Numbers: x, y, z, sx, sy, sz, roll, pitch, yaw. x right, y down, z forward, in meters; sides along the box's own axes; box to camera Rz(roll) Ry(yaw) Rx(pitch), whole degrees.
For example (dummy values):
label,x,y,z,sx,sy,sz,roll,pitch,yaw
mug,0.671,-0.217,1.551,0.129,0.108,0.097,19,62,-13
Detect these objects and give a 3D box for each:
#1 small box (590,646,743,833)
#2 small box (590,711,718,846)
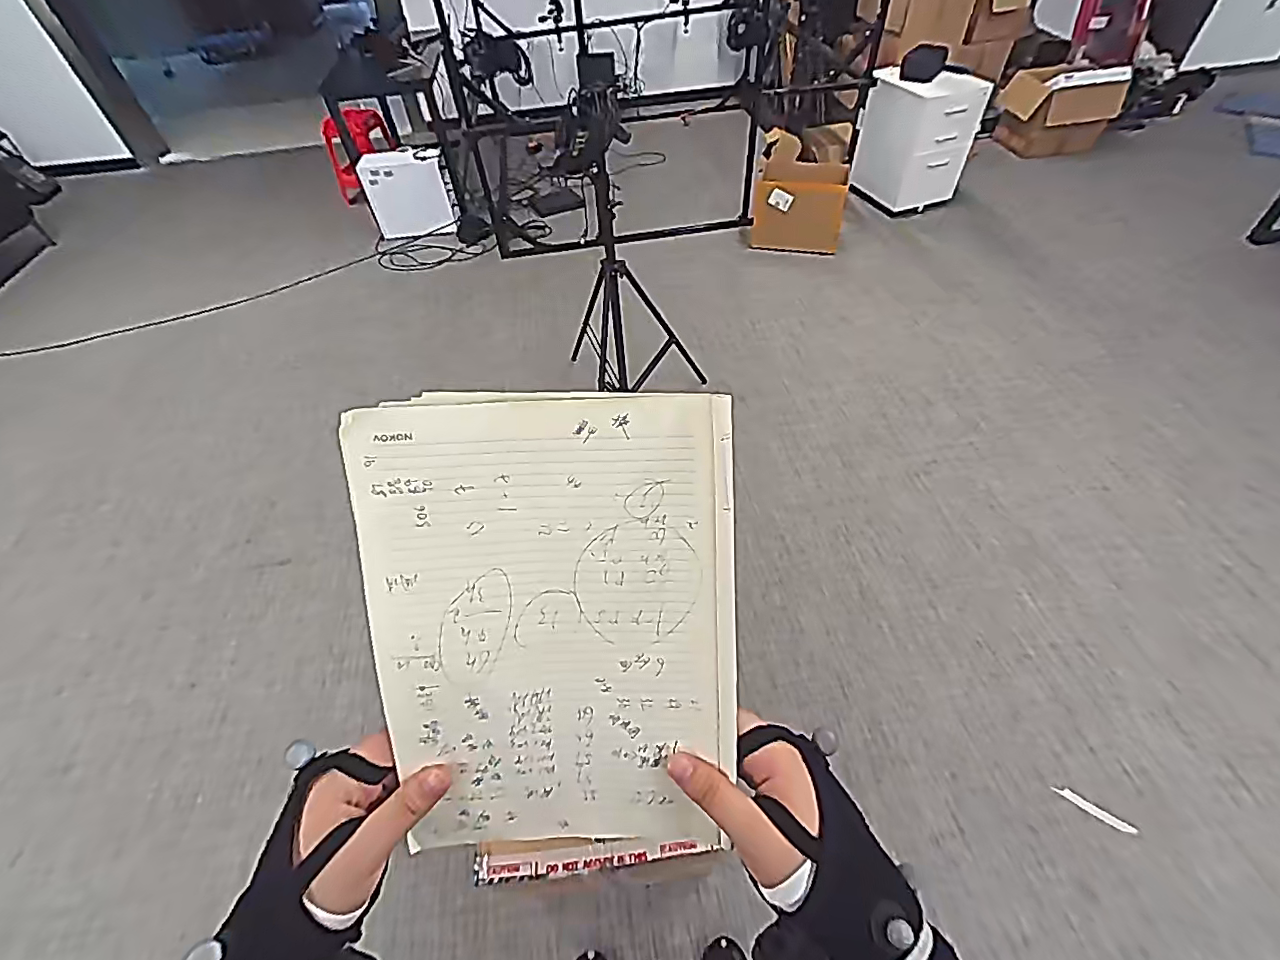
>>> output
label,x,y,z,sx,sy,sz,roll,pitch,yaw
small box,0.025,0.342,0.710,0.168,0.176,0.179,-6,52,-4
small box,0.024,0.447,0.837,0.179,0.176,0.168,-9,51,-6
